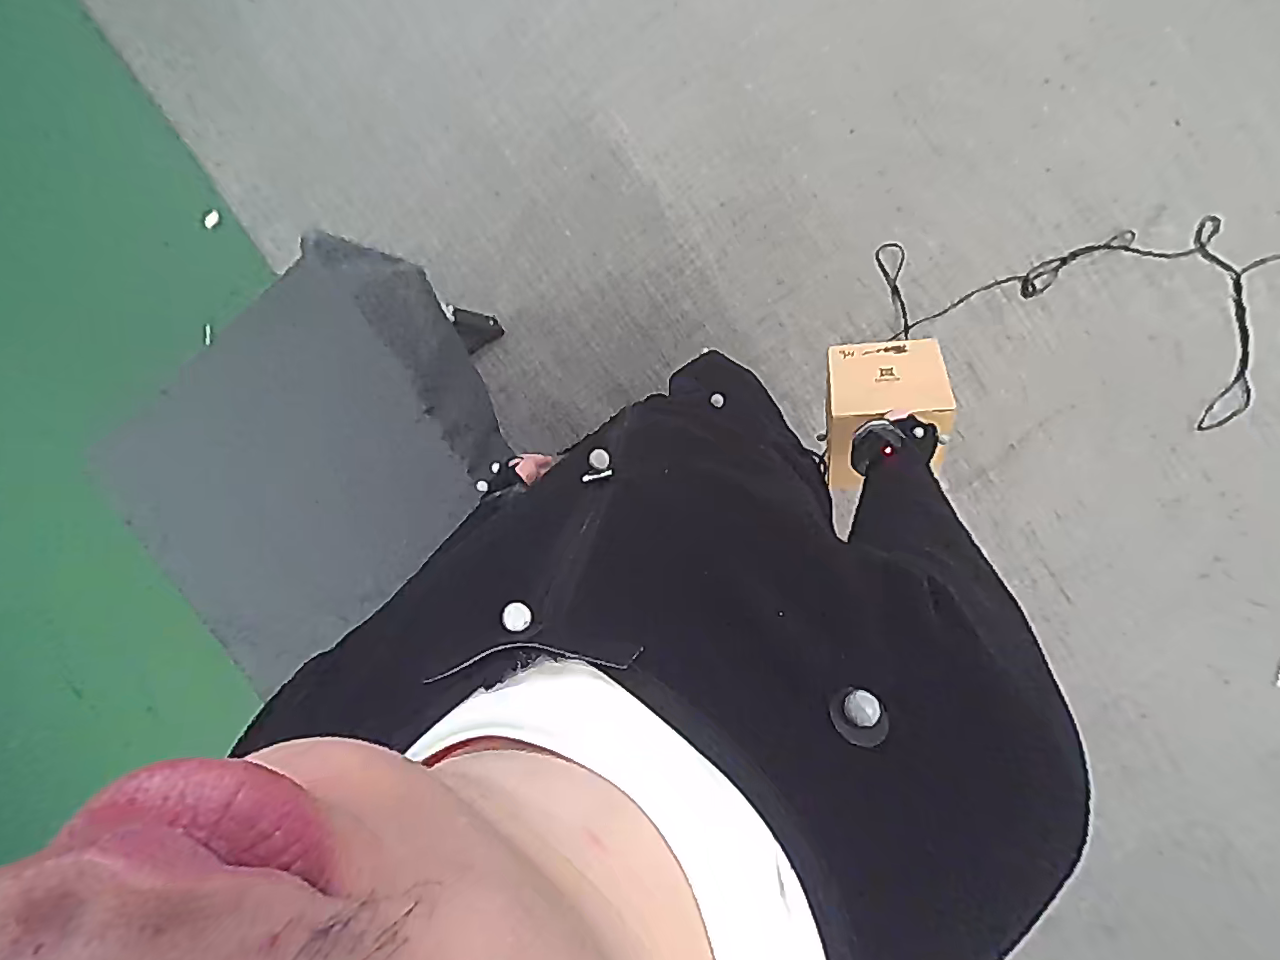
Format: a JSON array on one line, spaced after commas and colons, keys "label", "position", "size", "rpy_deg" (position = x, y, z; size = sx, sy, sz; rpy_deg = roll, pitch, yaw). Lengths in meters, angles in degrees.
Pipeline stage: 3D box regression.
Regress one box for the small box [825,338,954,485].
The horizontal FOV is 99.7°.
[{"label": "small box", "position": [0.394, -0.104, 0.882], "size": [0.168, 0.179, 0.176], "rpy_deg": [-3, 136, 16]}]
